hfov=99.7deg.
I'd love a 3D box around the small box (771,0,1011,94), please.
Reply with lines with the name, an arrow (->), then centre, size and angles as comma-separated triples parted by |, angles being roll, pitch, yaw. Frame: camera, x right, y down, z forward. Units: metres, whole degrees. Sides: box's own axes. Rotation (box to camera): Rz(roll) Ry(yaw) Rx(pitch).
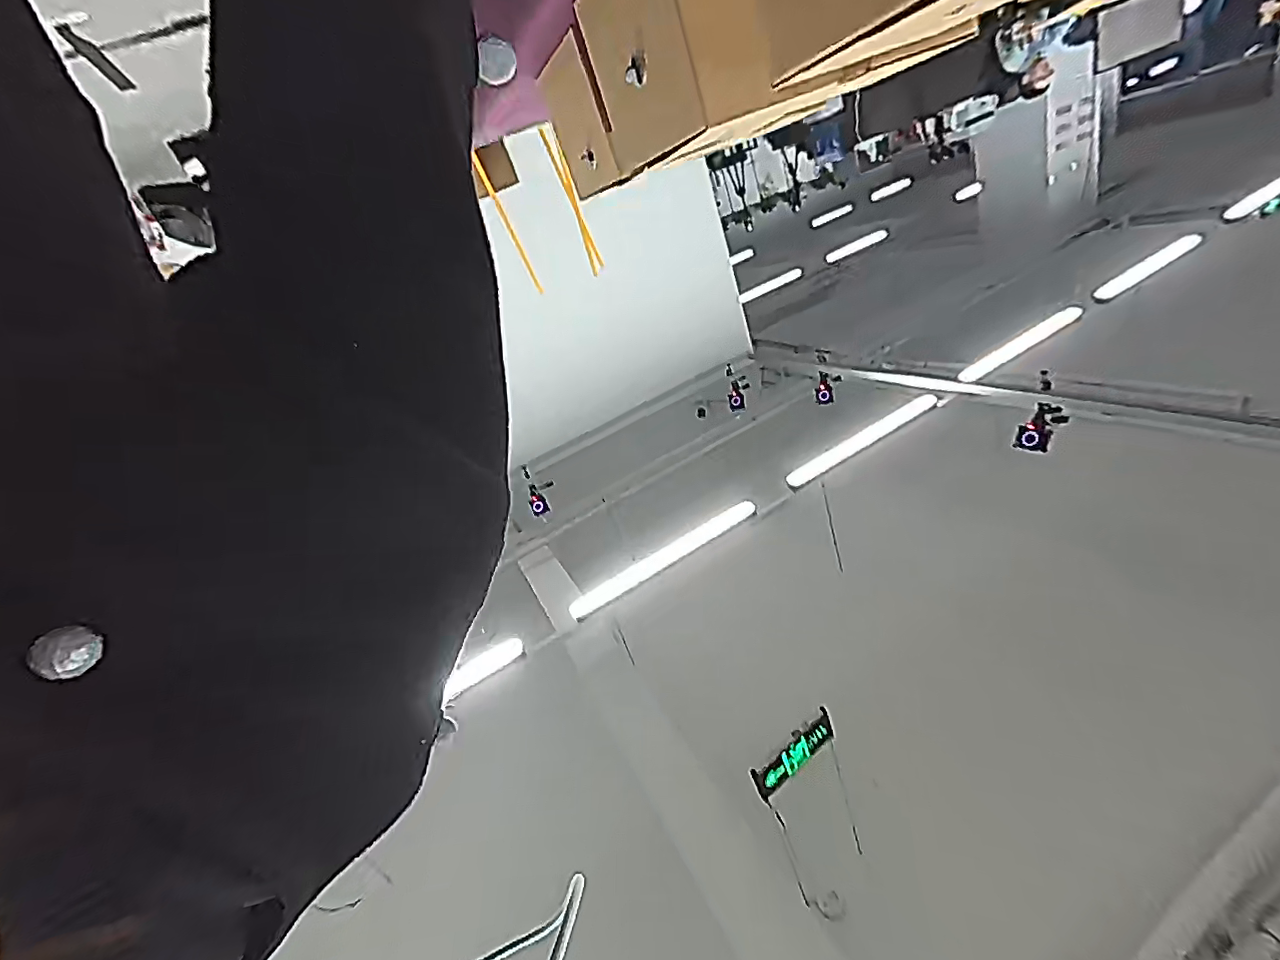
small box -> 0.172, -0.360, 0.300 | 0.168, 0.176, 0.179 | -29, -153, -15
